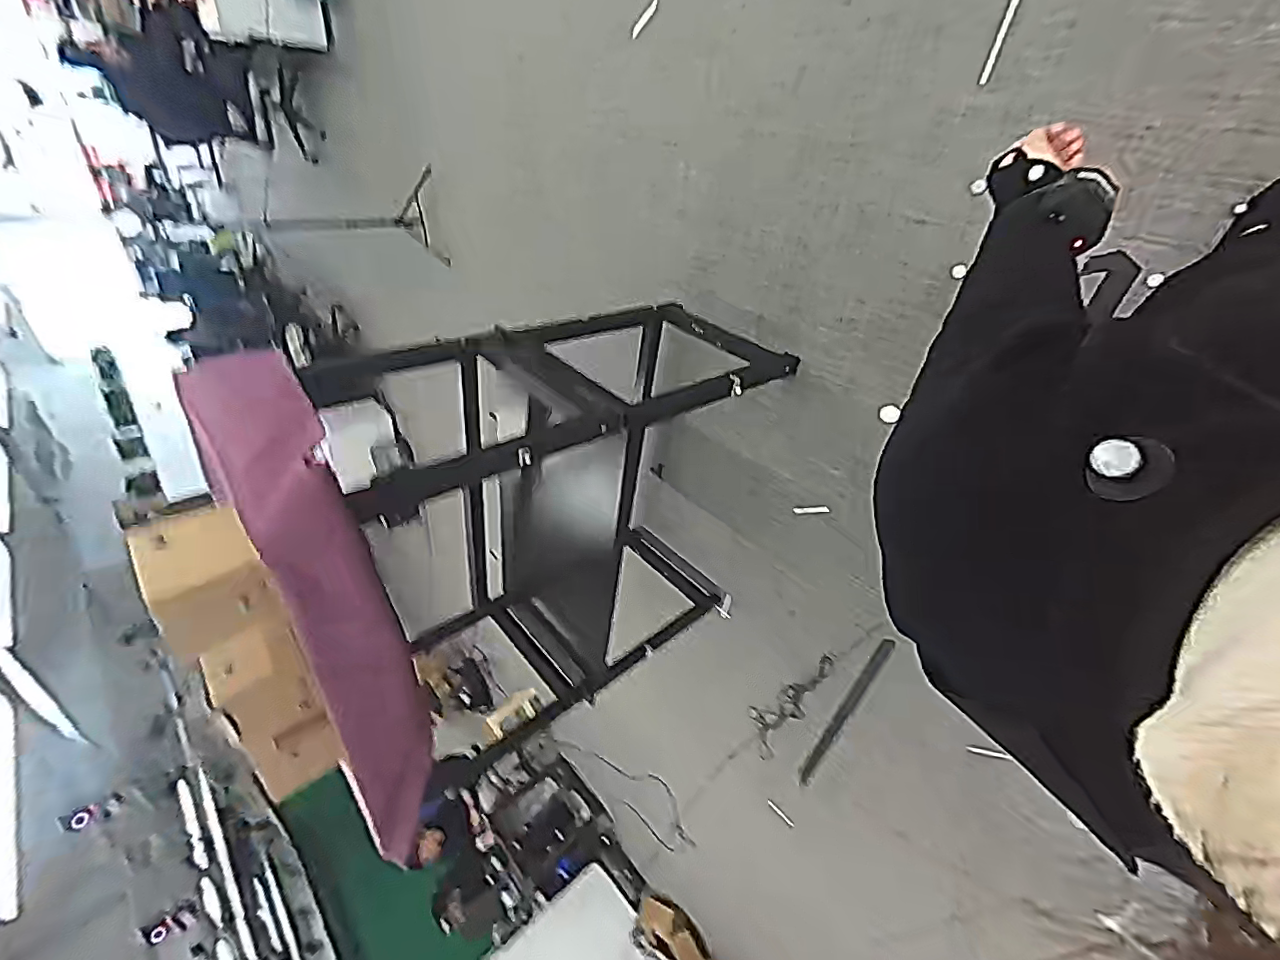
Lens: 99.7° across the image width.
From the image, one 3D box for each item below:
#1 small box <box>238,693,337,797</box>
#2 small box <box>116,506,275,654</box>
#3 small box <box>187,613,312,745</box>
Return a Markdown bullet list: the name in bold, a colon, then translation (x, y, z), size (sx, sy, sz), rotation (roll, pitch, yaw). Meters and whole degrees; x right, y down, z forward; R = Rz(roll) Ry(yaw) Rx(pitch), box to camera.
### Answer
- **small box**: translation (-0.885, 0.629, 1.345), size (0.168, 0.176, 0.179), rotation (35, 133, 36)
- **small box**: translation (-0.785, 0.166, 0.969), size (0.179, 0.176, 0.168), rotation (41, 137, 31)
- **small box**: translation (-0.838, 0.422, 1.174), size (0.179, 0.176, 0.168), rotation (34, 132, 37)
